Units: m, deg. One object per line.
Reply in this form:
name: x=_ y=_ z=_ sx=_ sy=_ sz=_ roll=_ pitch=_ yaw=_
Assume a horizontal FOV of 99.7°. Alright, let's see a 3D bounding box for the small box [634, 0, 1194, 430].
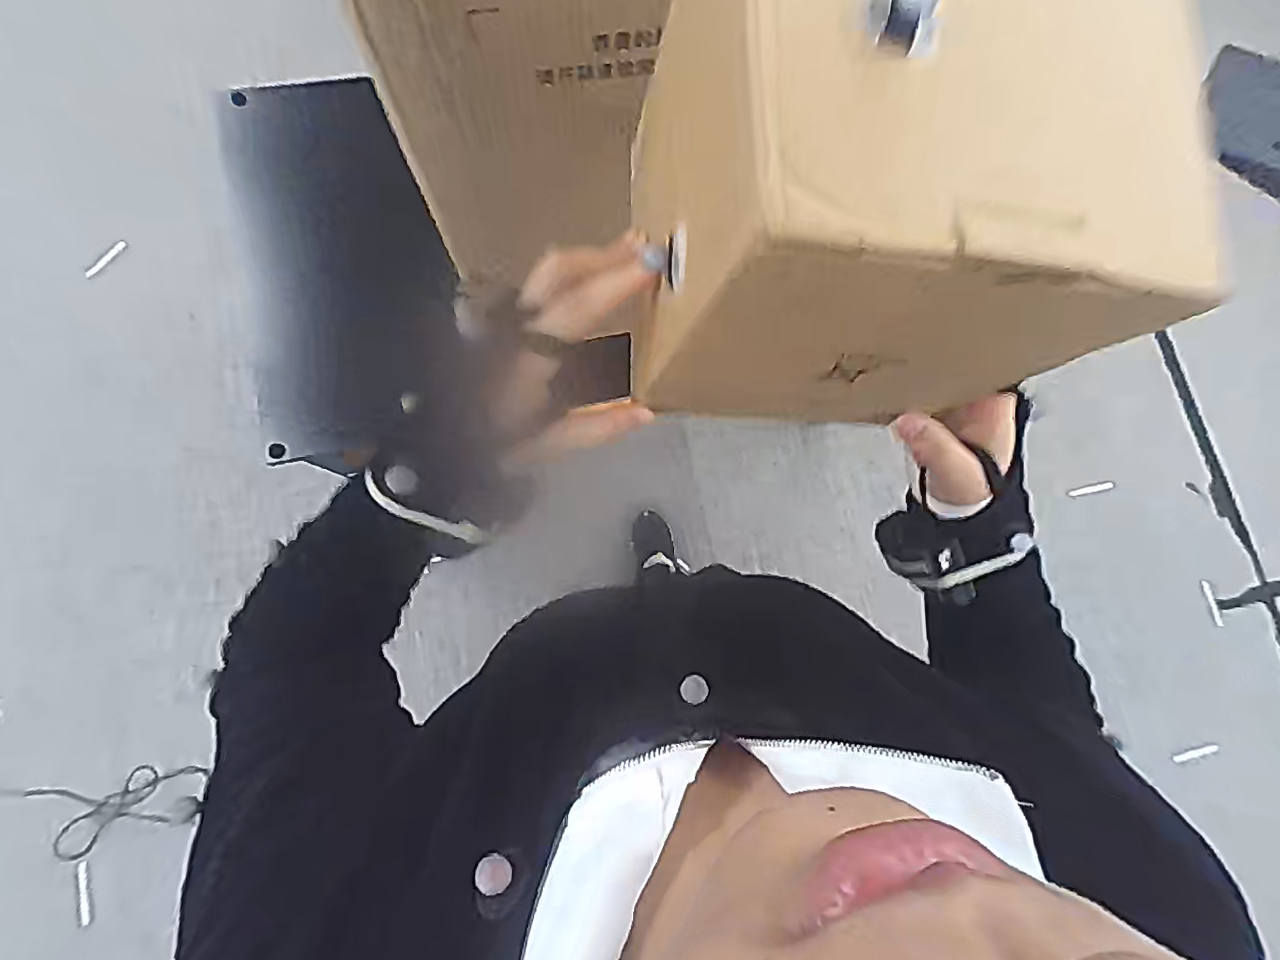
small box: x=0.092 y=-0.129 z=0.261 sx=0.168 sy=0.179 sz=0.176 roll=2 pitch=81 yaw=-13
